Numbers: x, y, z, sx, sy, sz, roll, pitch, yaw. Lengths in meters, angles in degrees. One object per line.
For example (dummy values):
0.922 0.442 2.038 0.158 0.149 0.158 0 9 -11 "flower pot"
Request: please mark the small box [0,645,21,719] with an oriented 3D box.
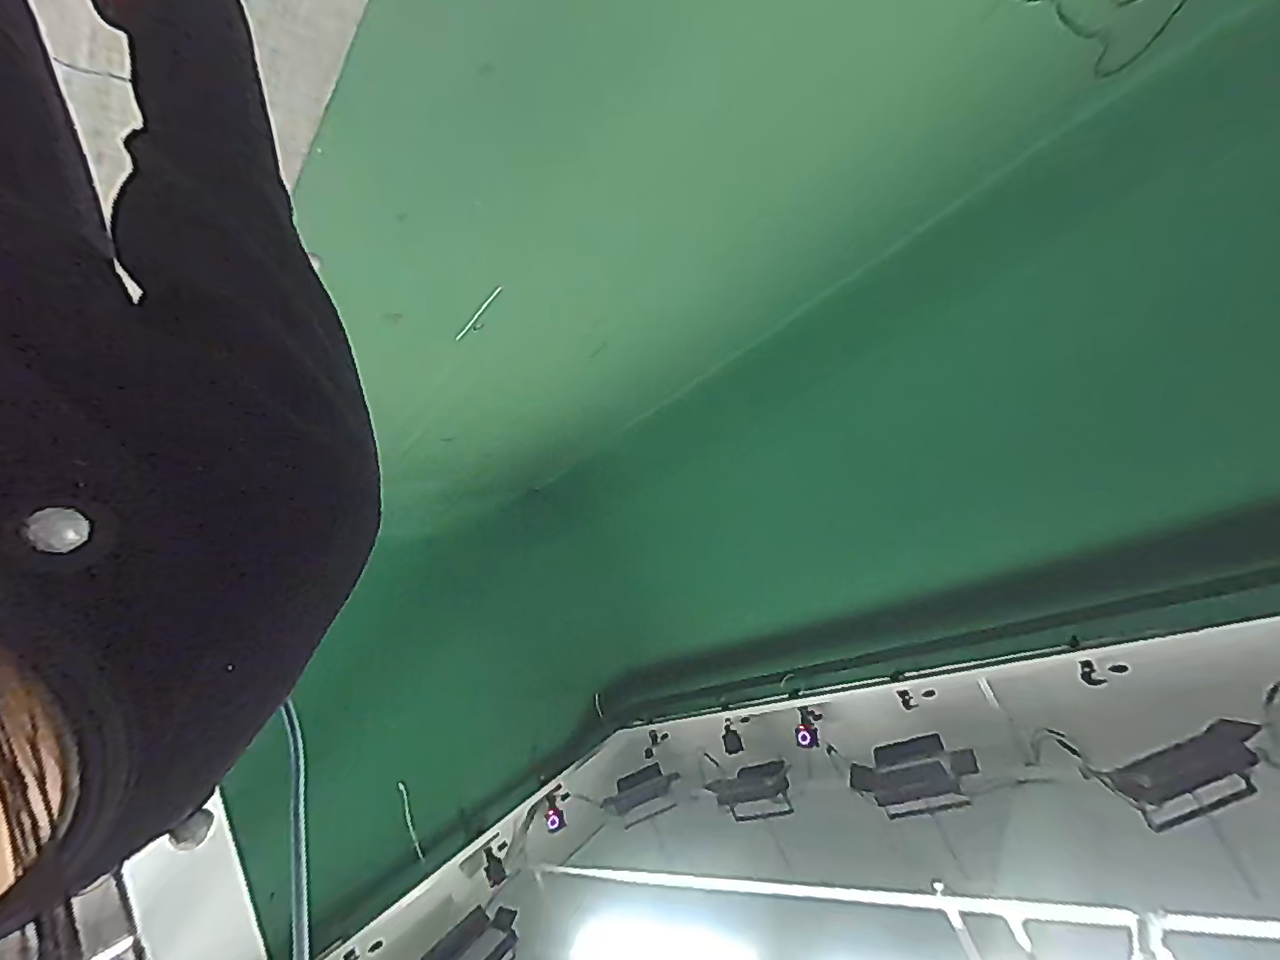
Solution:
-1.767 0.553 1.407 0.179 0.176 0.168 -14 167 -47 "small box"
